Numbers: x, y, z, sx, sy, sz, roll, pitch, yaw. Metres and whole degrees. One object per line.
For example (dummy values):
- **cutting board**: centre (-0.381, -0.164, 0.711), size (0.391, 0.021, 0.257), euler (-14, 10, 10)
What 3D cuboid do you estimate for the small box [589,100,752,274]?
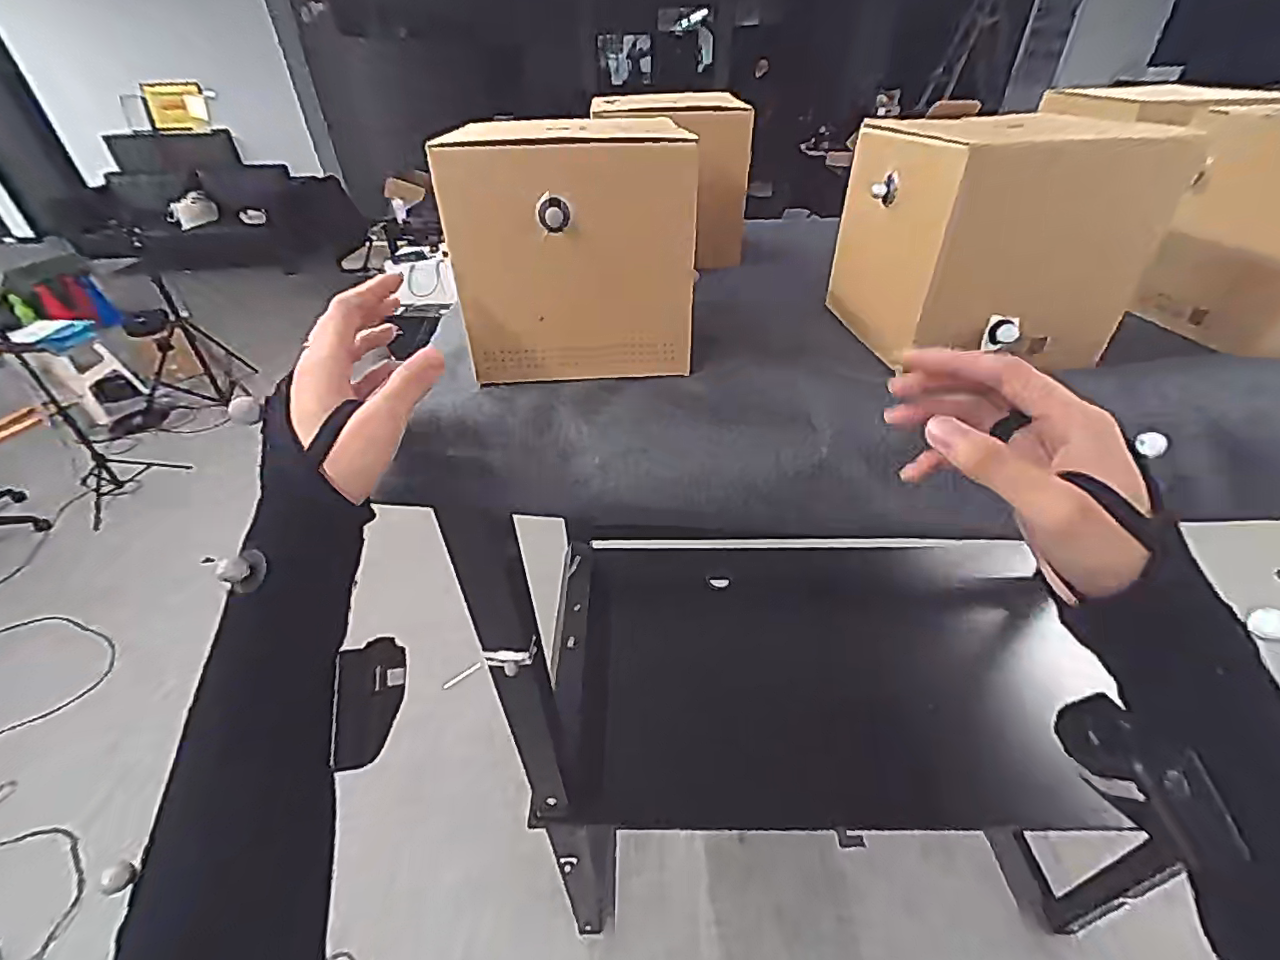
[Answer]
- **small box**: centre (0.029, -0.366, 0.678), size (0.179, 0.176, 0.168), euler (-1, 38, -2)

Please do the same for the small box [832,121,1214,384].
- **small box**: centre (0.278, -0.193, 0.452), size (0.168, 0.176, 0.179), euler (-4, 37, -2)

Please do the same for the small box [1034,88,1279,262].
- **small box**: centre (0.607, -0.383, 0.684), size (0.168, 0.176, 0.179), euler (-2, 38, 0)

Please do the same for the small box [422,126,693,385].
- **small box**: centre (-0.054, -0.188, 0.451), size (0.179, 0.176, 0.168), euler (-3, 37, -3)
